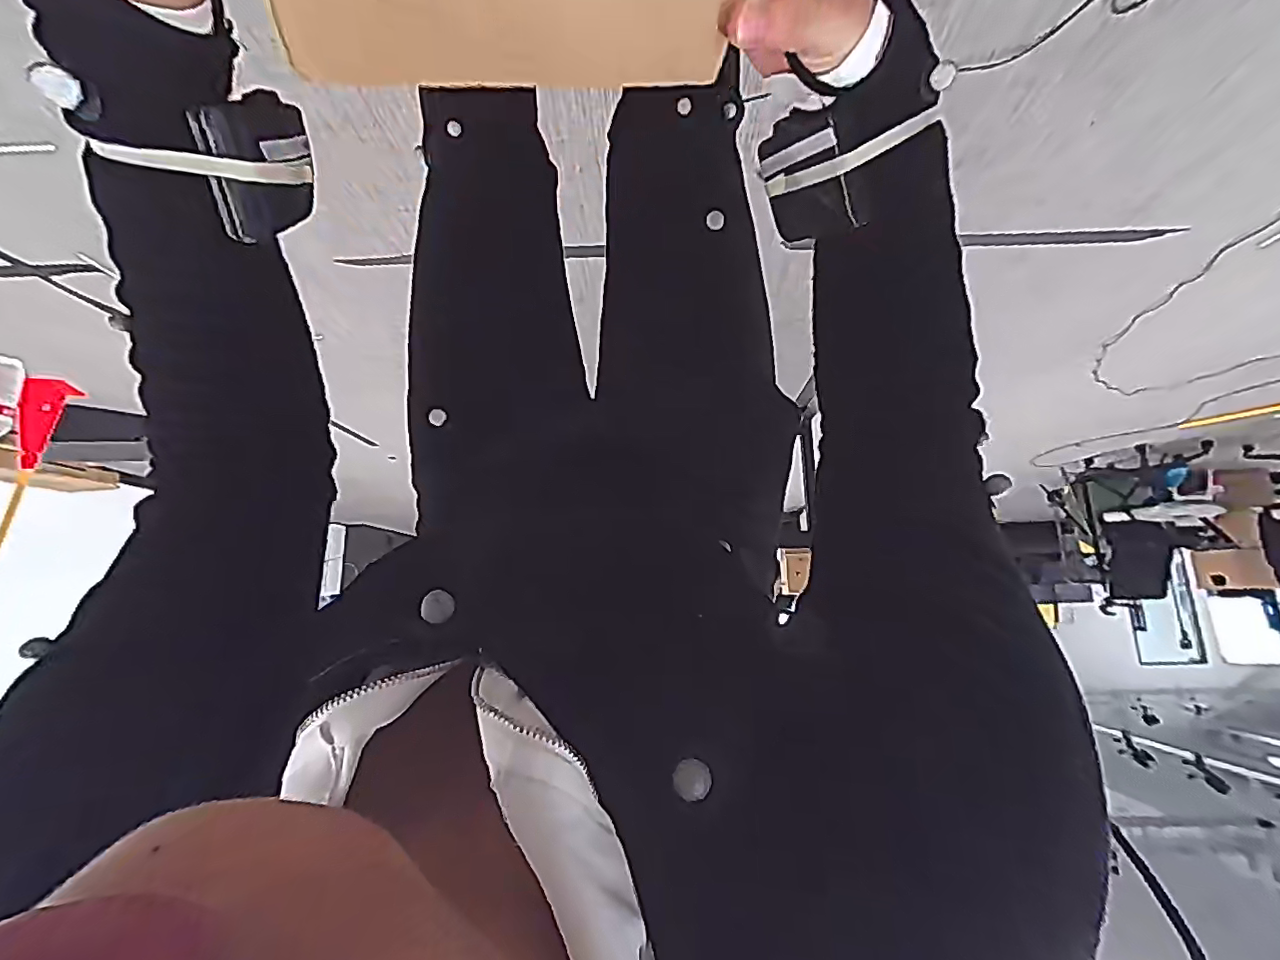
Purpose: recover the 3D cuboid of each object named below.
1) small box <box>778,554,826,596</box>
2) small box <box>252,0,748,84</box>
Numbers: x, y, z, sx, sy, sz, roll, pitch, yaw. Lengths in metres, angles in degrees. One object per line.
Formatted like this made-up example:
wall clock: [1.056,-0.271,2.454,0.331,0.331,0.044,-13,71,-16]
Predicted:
small box: [0.675,0.398,2.276,0.168,0.176,0.179,-1,169,6]
small box: [-0.048,-0.265,0.163,0.179,0.176,0.168,-12,163,-20]
